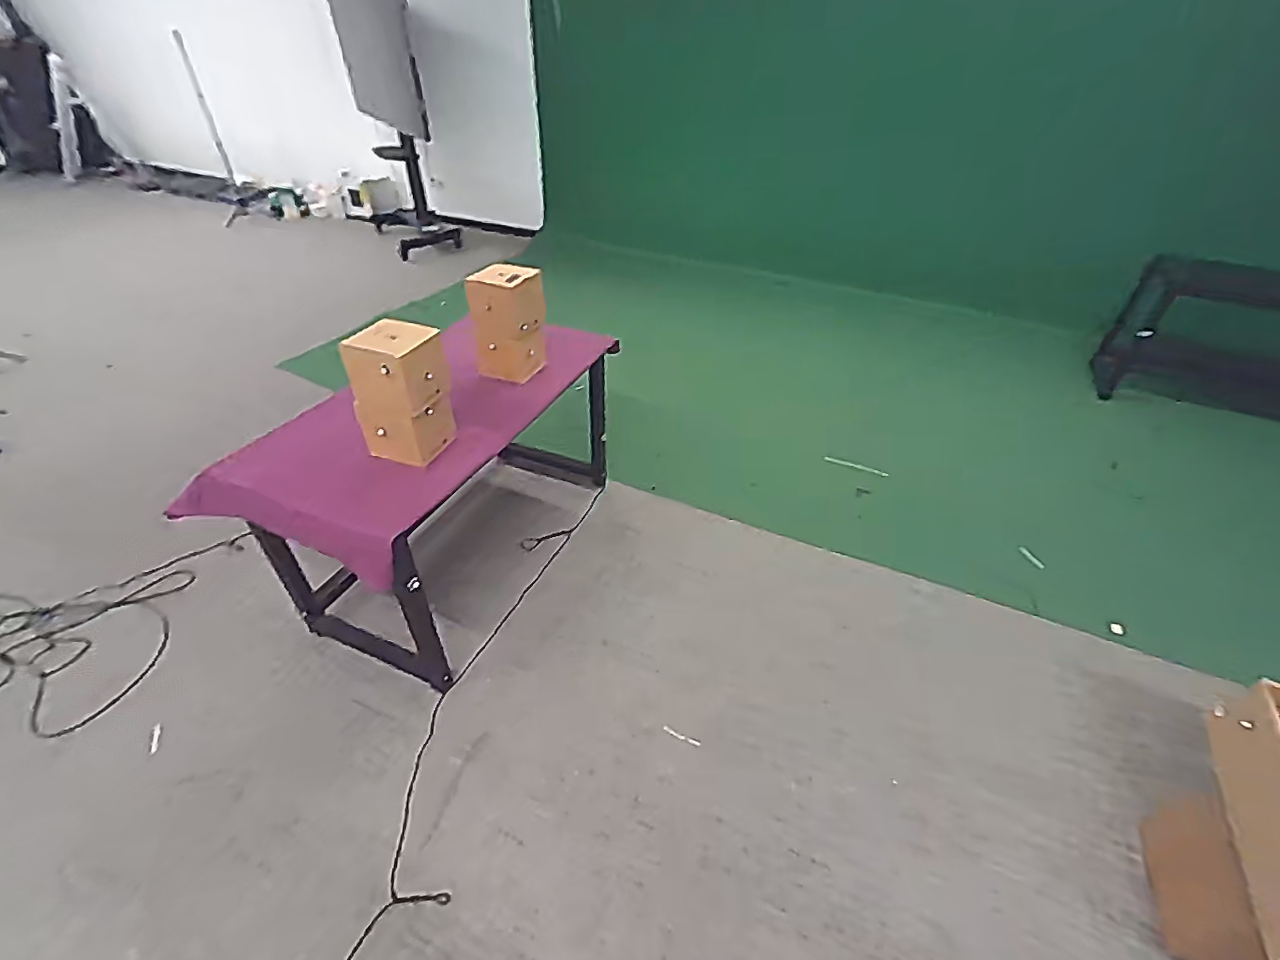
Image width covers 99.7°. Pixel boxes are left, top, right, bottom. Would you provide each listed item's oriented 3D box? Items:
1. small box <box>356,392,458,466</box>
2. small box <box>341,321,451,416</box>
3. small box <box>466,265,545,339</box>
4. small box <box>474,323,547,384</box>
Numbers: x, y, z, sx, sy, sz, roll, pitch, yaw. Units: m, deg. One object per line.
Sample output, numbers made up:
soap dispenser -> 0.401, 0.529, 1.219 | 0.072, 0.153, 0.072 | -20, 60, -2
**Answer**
small box -> -0.631, -0.159, 1.487 | 0.179, 0.176, 0.168 | 13, 41, 13
small box -> -0.609, -0.283, 1.377 | 0.179, 0.176, 0.168 | 14, 40, 14
small box -> -0.421, -0.569, 1.734 | 0.179, 0.176, 0.168 | 16, 42, 19
small box -> -0.432, -0.445, 1.842 | 0.179, 0.176, 0.168 | 14, 42, 17
